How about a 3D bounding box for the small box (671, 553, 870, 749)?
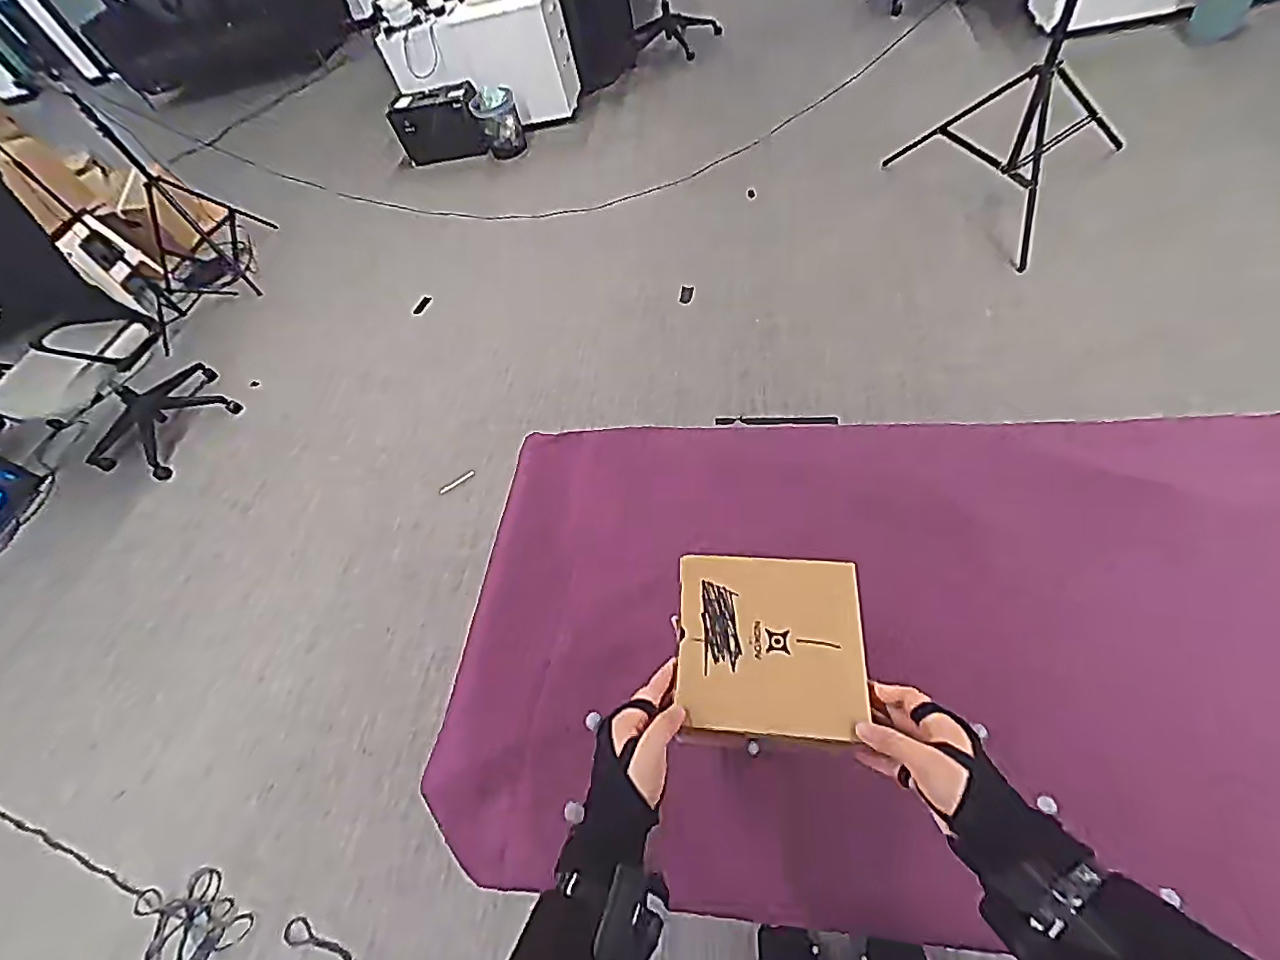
[{"bbox_3d":[0.130,0.190,0.587,0.179,0.176,0.168,2,60,7],"label":"small box"}]
